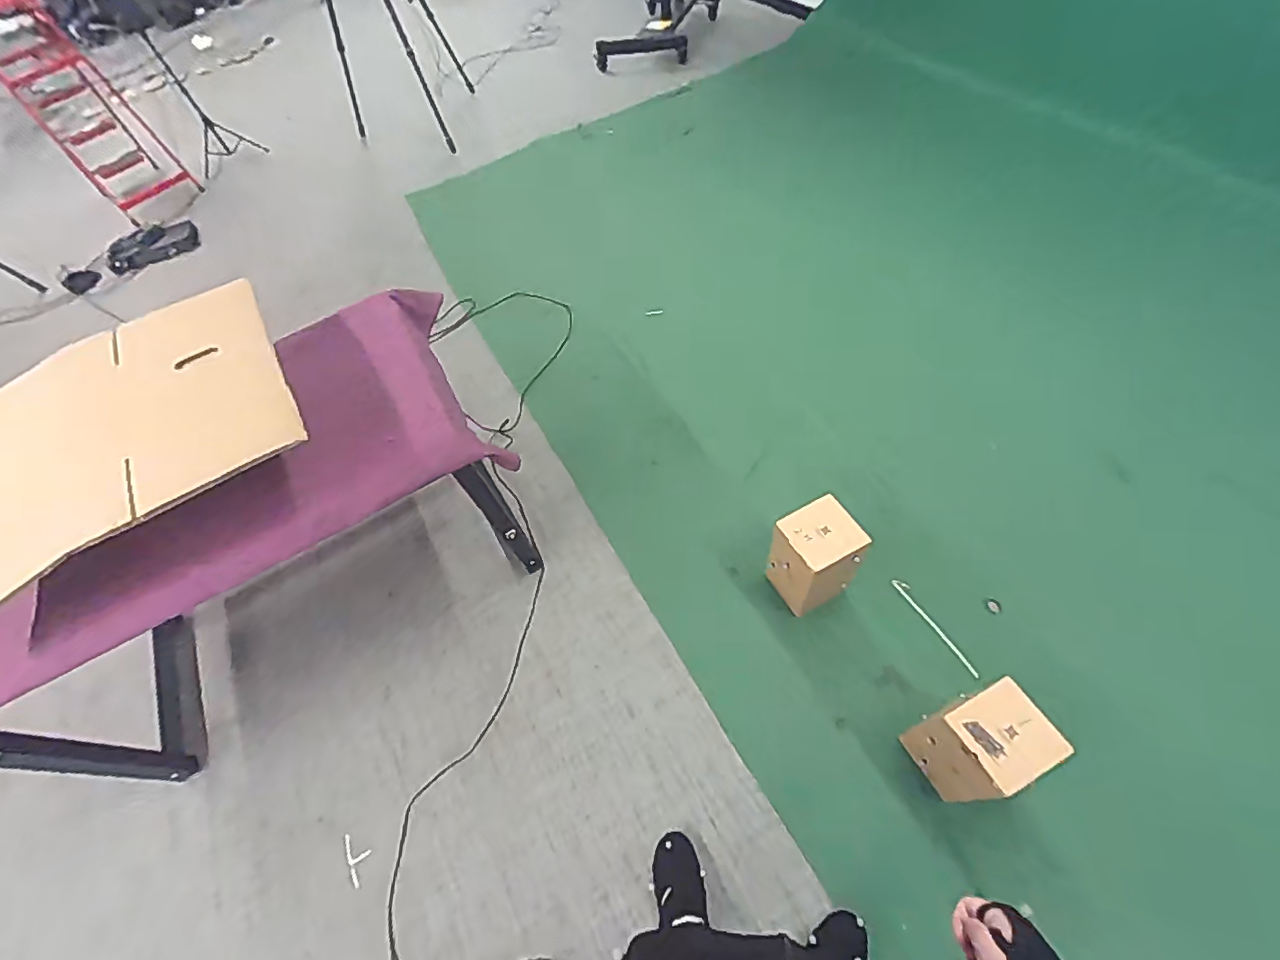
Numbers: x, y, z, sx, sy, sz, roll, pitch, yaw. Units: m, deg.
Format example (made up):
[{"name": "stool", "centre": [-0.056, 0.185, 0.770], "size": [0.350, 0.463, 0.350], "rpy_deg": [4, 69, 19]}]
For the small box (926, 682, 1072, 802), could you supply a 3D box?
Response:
[{"name": "small box", "centre": [0.740, 0.559, 1.144], "size": [0.179, 0.176, 0.168], "rpy_deg": [-26, 59, -9]}]

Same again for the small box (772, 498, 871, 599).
[{"name": "small box", "centre": [0.468, 0.184, 1.424], "size": [0.179, 0.176, 0.168], "rpy_deg": [-26, 57, -9]}]

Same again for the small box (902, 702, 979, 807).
[{"name": "small box", "centre": [0.760, 0.646, 1.281], "size": [0.179, 0.176, 0.168], "rpy_deg": [-28, 58, -9]}]
